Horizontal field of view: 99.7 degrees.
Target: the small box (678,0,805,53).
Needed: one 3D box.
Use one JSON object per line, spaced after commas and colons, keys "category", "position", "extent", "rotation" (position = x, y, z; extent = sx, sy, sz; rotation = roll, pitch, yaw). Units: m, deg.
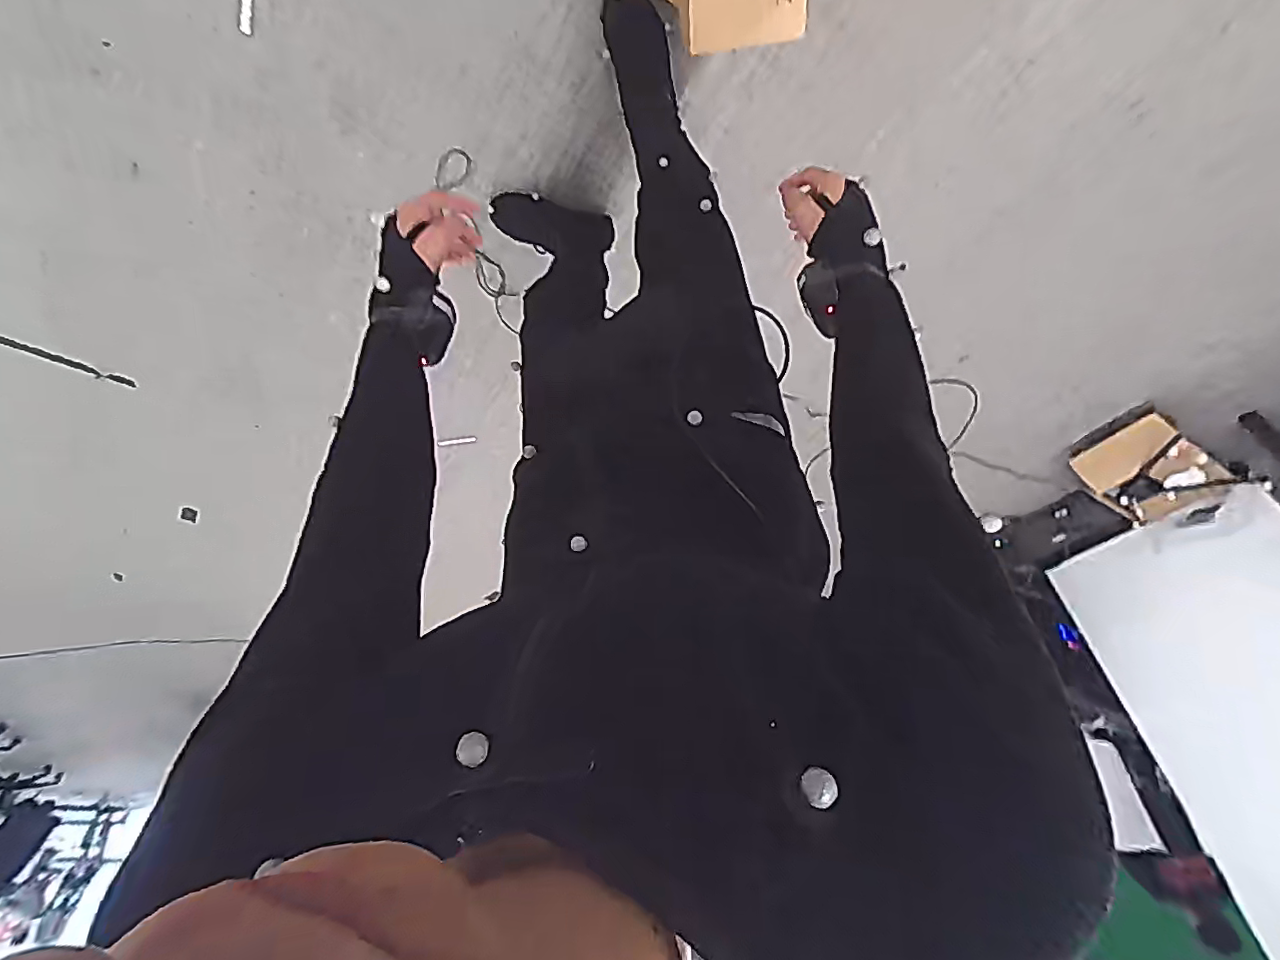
{"category": "small box", "position": [0.147, -0.771, 0.810], "extent": [0.179, 0.176, 0.168], "rotation": [-7, 141, 2]}
